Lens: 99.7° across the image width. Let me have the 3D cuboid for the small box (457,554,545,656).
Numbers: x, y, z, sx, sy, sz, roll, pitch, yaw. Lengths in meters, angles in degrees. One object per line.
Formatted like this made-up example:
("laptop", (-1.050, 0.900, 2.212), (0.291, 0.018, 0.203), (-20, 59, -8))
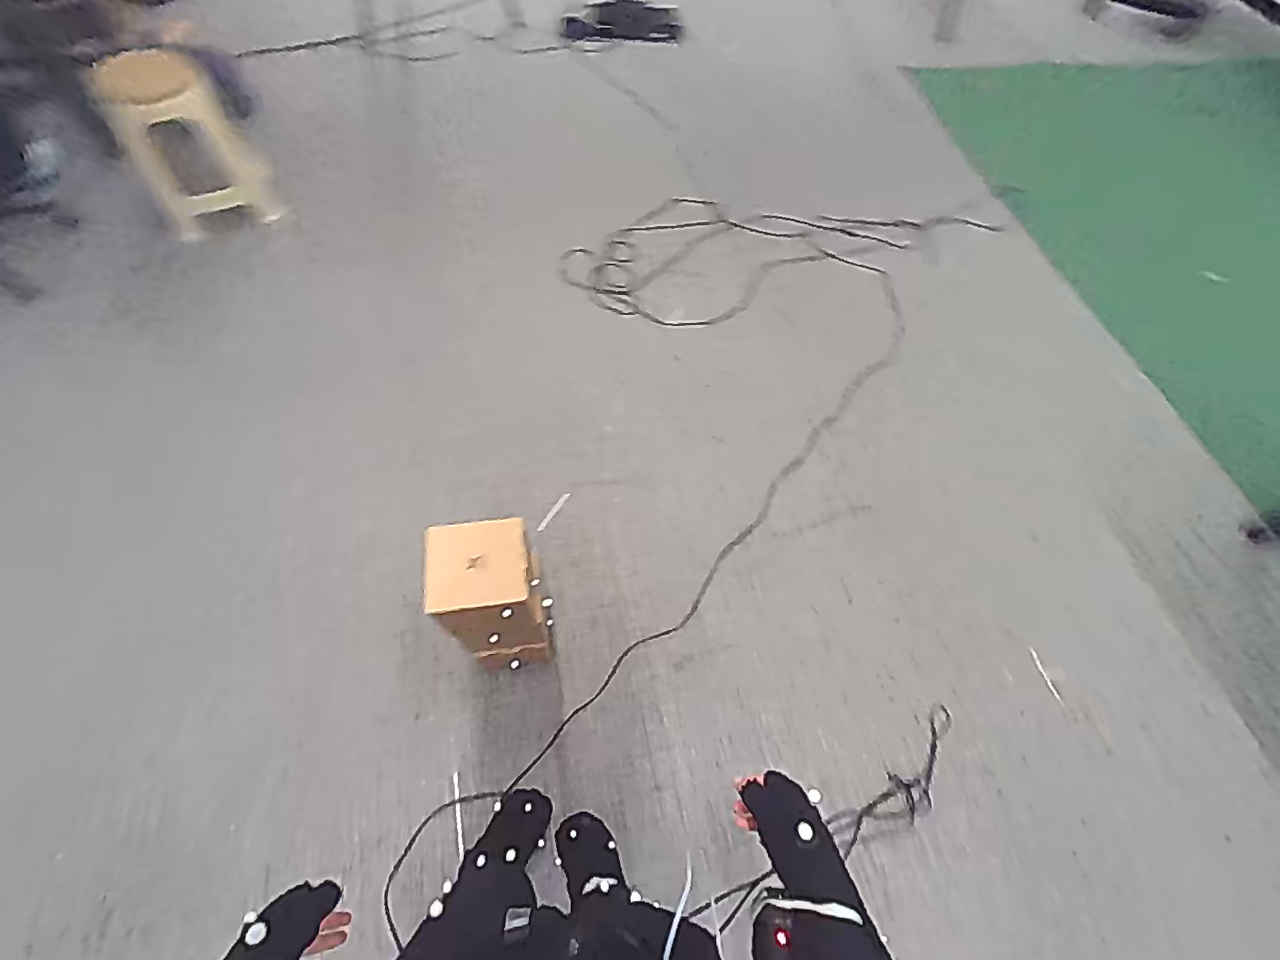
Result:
("small box", (-0.308, 0.277, 1.185), (0.179, 0.176, 0.168), (-6, 61, -9))

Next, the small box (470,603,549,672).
("small box", (-0.318, 0.364, 1.325), (0.168, 0.176, 0.179), (-7, 62, -9))

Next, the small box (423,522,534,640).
("small box", (-0.305, 0.199, 1.042), (0.179, 0.176, 0.168), (-6, 61, -9))
